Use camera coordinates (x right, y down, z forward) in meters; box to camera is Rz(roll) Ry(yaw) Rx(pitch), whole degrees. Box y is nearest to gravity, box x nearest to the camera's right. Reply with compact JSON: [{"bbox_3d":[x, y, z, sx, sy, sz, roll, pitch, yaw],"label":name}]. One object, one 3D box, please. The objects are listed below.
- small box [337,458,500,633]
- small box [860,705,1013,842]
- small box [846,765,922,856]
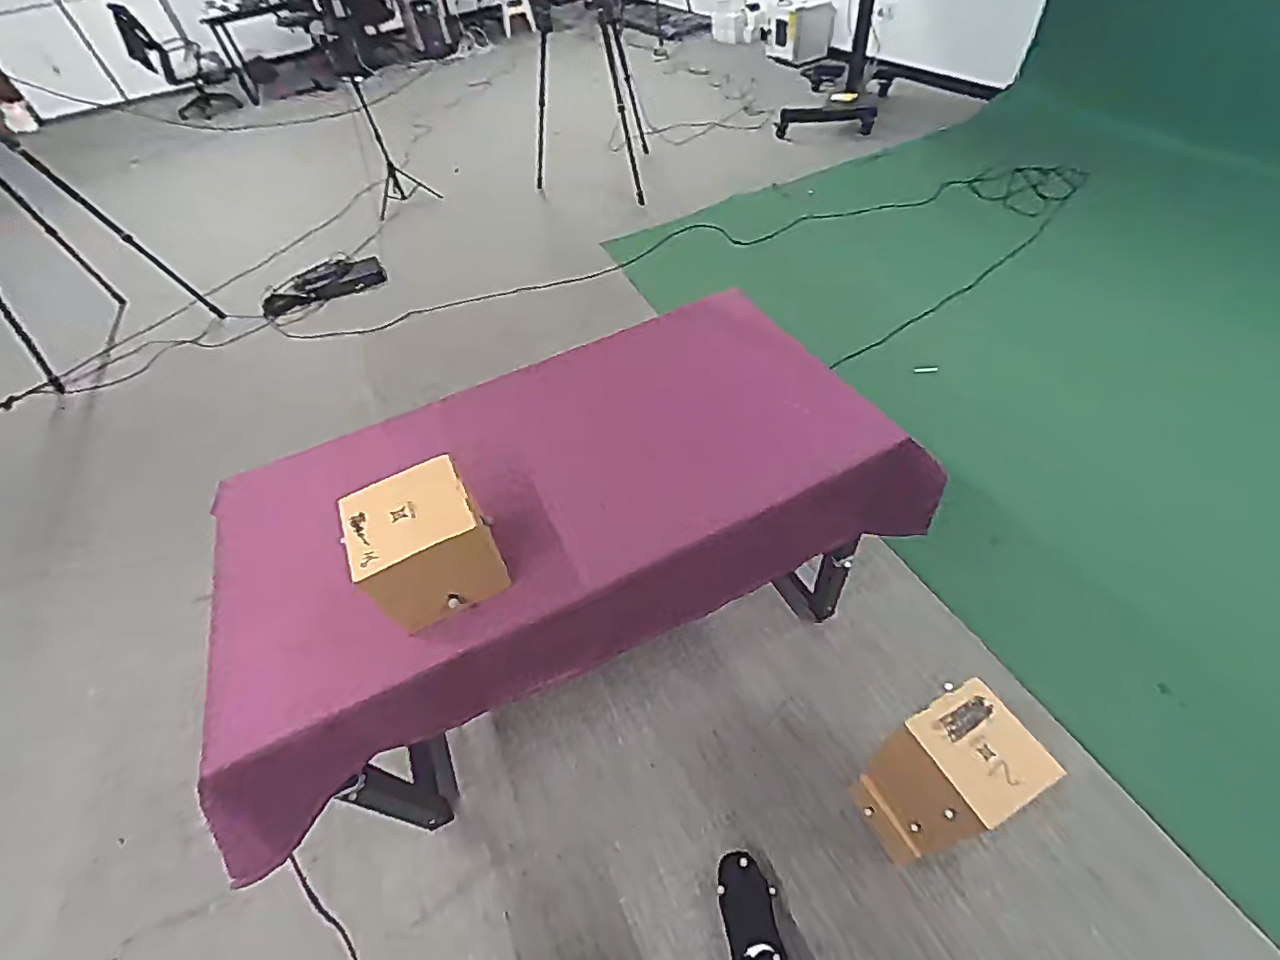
[{"bbox_3d":[-0.331,0.103,0.837,0.179,0.176,0.168,-25,51,-14],"label":"small box"},{"bbox_3d":[0.565,0.580,1.059,0.168,0.176,0.179,-23,51,-13],"label":"small box"},{"bbox_3d":[0.575,0.687,1.181,0.179,0.176,0.168,-25,52,-14],"label":"small box"}]
